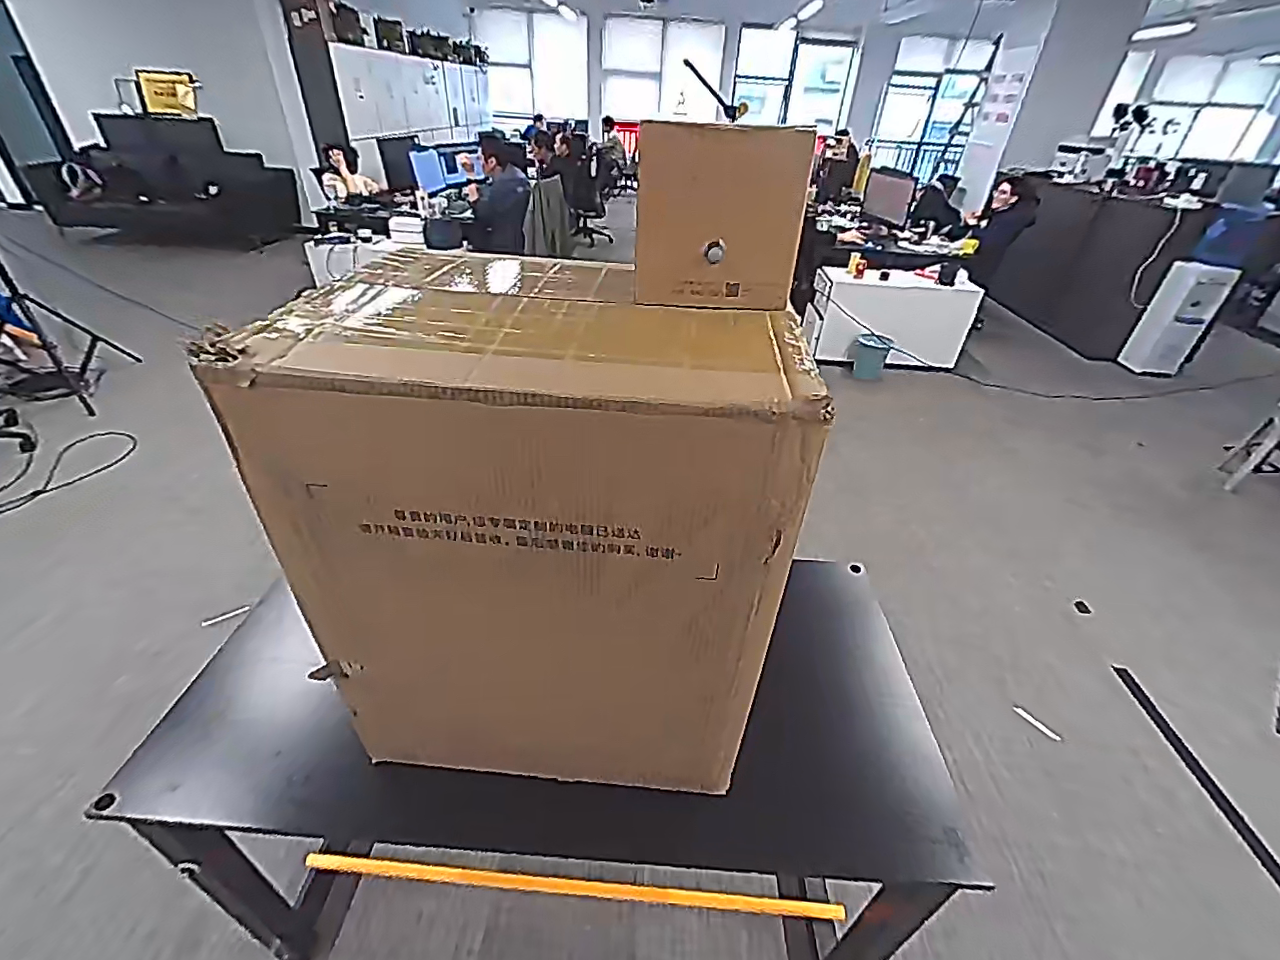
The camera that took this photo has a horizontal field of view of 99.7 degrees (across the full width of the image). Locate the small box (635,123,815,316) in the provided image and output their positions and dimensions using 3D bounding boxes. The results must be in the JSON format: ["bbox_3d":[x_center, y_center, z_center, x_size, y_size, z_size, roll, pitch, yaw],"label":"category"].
[{"bbox_3d":[0.082,-0.295,0.610,0.168,0.176,0.179,3,33,1],"label":"small box"}]
